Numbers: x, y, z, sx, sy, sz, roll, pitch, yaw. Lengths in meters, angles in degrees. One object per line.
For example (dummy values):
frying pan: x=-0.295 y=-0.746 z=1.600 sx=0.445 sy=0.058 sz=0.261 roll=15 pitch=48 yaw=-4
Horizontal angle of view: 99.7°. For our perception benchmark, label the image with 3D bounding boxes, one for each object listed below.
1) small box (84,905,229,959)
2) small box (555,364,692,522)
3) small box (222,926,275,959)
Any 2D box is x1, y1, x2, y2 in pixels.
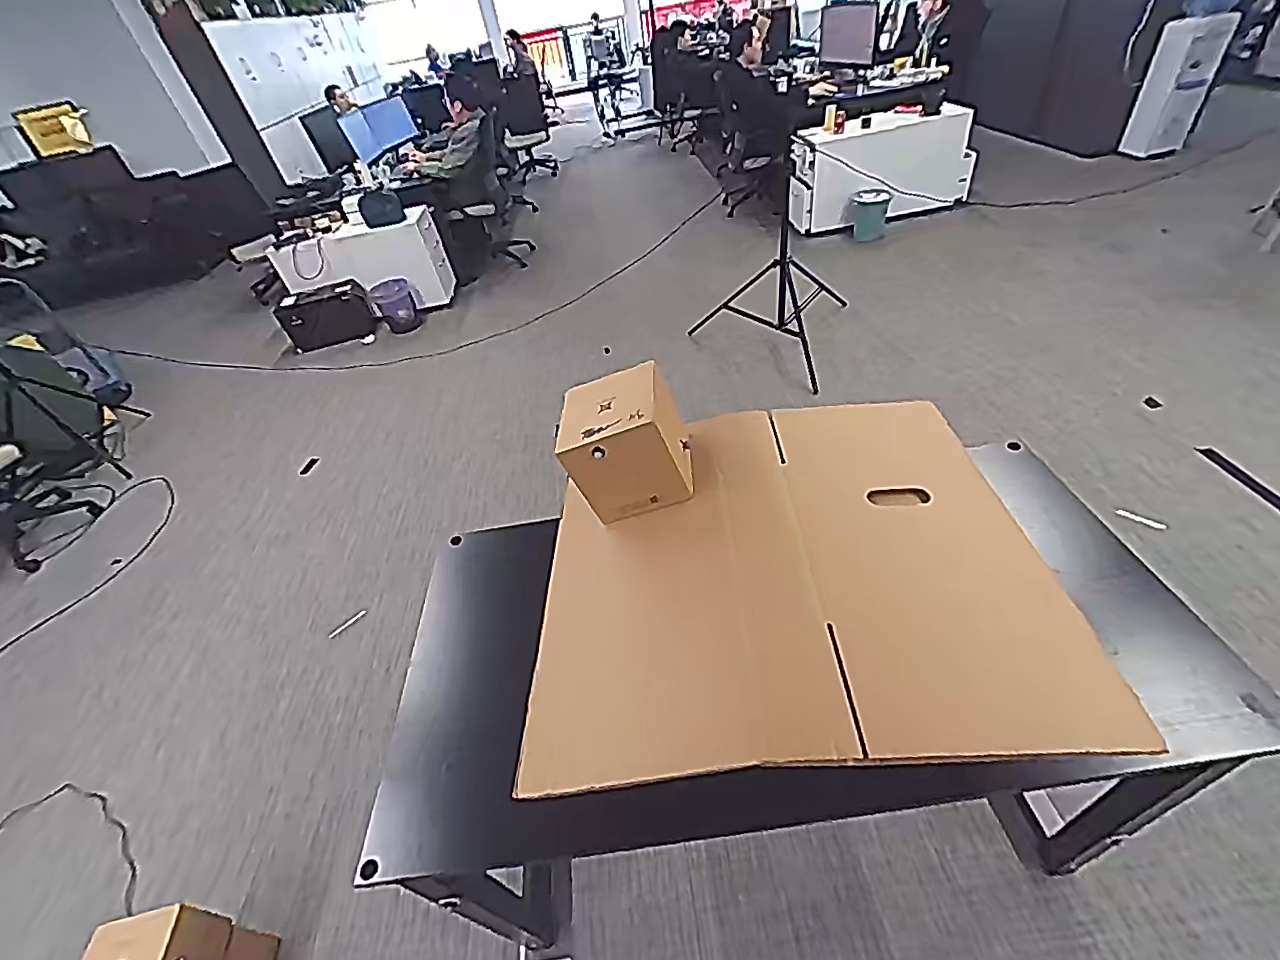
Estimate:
small box: x=-0.957 y=0.975 z=1.057 sx=0.168 sy=0.176 sz=0.179 roll=-14 pitch=41 yaw=-4
small box: x=-0.019 y=-0.059 z=0.900 sx=0.168 sy=0.176 sz=0.179 roll=-18 pitch=38 yaw=16
small box: x=-0.930 y=1.098 z=1.160 sx=0.168 sy=0.176 sz=0.179 roll=-12 pitch=42 yaw=-1
